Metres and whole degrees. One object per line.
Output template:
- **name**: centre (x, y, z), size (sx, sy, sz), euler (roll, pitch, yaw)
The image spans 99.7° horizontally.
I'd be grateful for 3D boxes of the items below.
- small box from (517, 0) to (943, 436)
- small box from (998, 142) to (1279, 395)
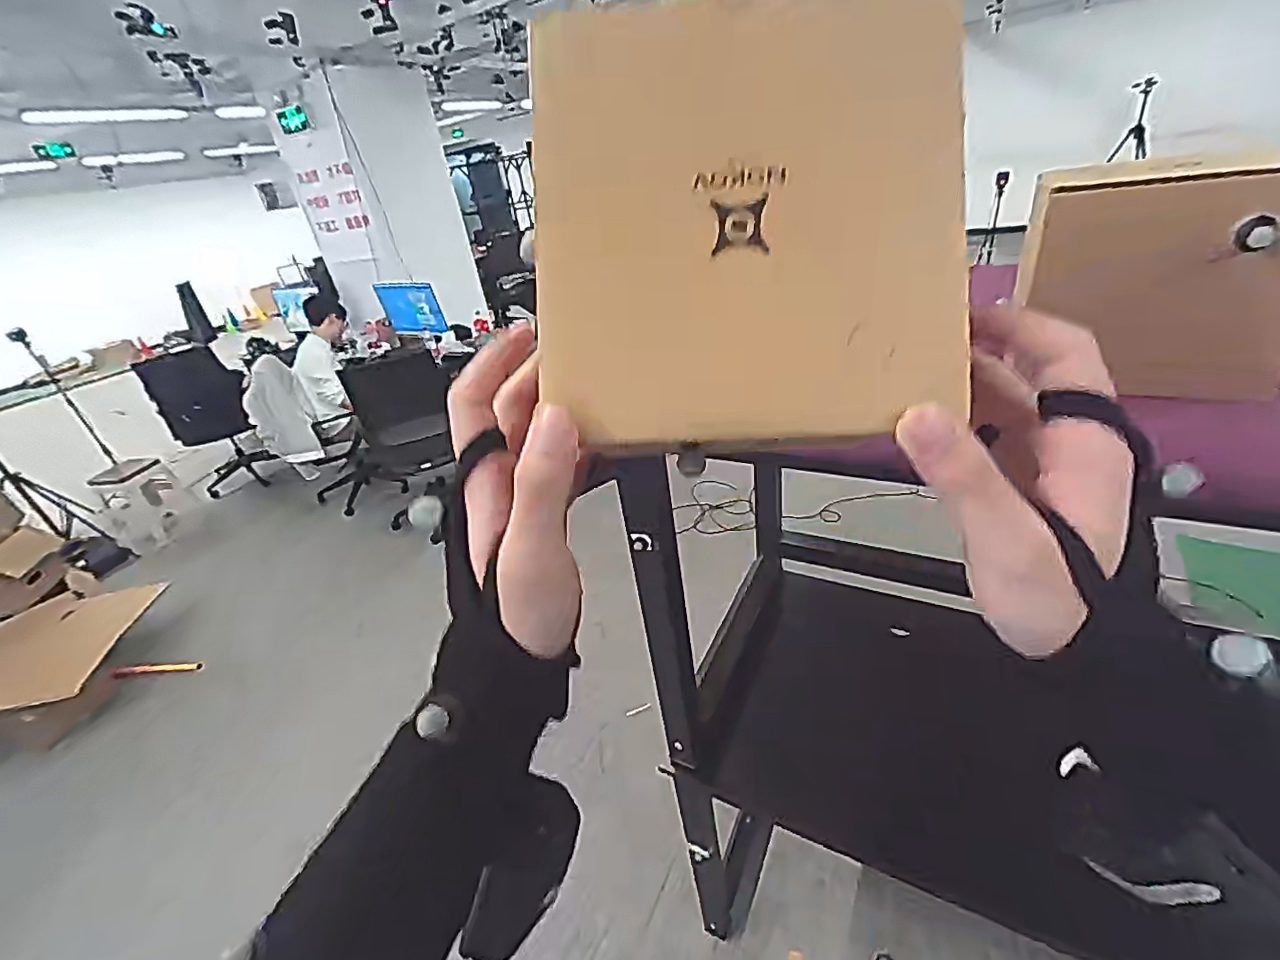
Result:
- **small box**: centre (0.042, -0.115, 0.291), size (0.168, 0.179, 0.176), euler (-1, -1, 7)
- **small box**: centre (0.437, -0.183, 0.476), size (0.179, 0.176, 0.168), euler (9, 34, 29)
